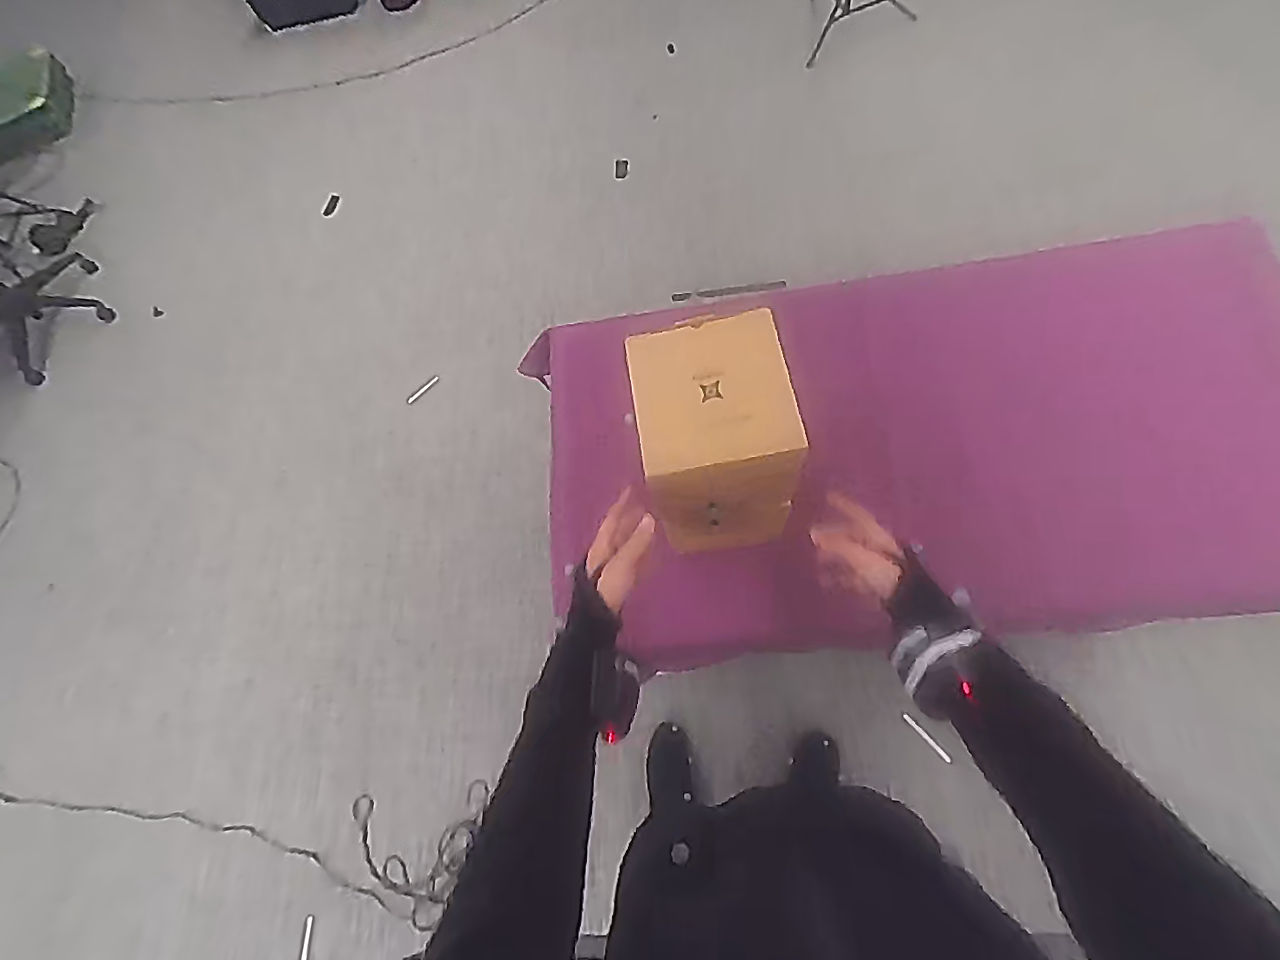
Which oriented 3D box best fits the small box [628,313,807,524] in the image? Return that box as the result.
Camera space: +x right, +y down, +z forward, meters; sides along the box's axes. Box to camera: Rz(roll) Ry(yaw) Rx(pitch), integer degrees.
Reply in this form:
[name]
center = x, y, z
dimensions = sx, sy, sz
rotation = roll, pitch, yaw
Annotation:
[small box]
center = 0.086, -0.064, 0.641
dimensions = 0.168, 0.176, 0.179
rotation = -10, 68, 5
